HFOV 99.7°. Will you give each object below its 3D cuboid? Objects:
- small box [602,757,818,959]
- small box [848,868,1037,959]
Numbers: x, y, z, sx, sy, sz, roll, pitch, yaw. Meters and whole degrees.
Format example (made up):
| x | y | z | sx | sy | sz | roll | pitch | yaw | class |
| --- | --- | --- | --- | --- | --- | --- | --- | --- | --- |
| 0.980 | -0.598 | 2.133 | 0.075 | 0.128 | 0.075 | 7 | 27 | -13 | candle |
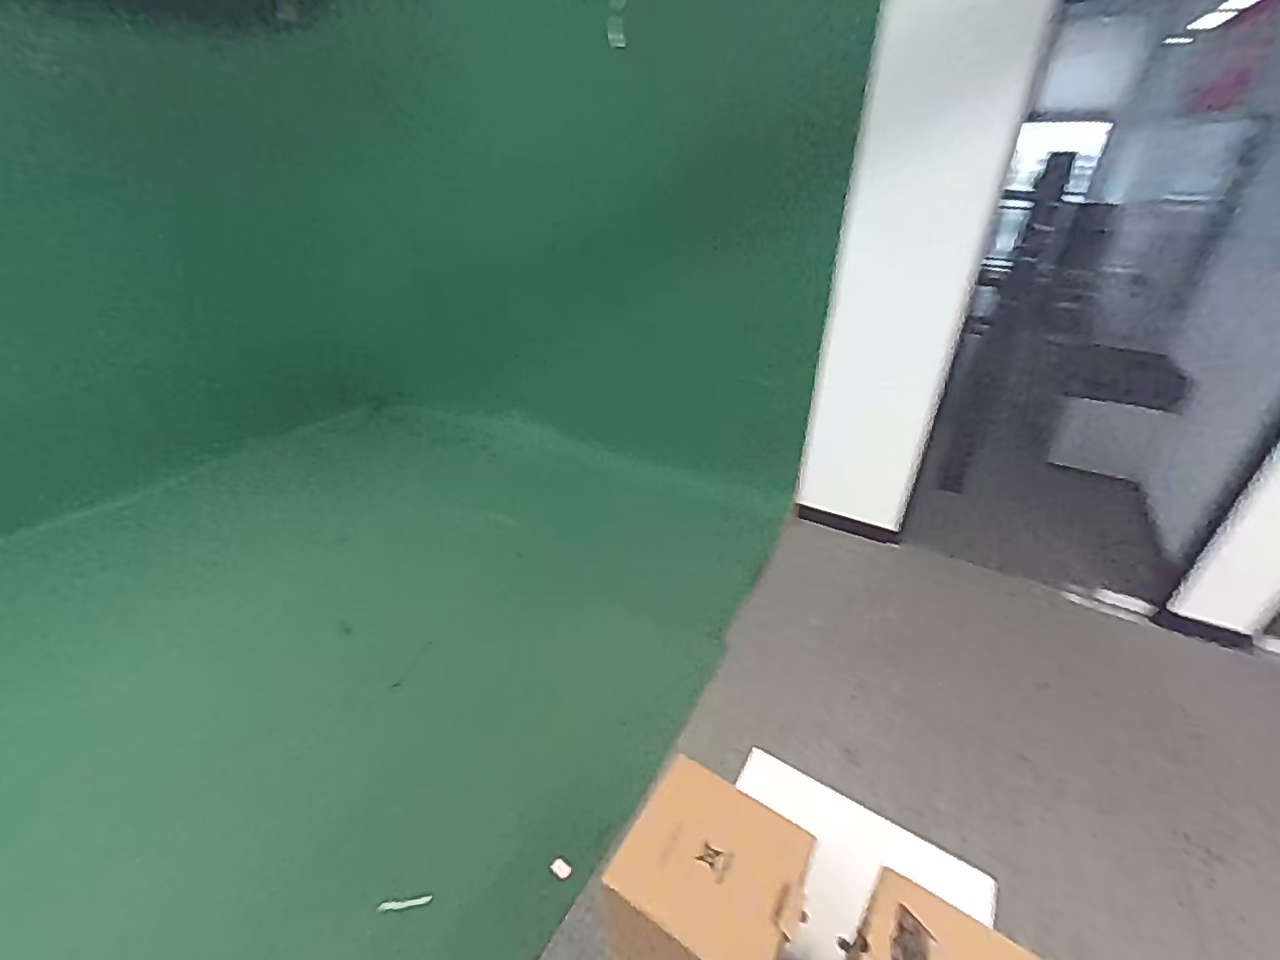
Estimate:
| x | y | z | sx | sy | sz | roll | pitch | yaw | class |
| --- | --- | --- | --- | --- | --- | --- | --- | --- | --- |
| 0.075 | 0.465 | 0.606 | 0.179 | 0.176 | 0.168 | 19 | 35 | 28 | small box |
| 0.276 | 0.528 | 0.501 | 0.179 | 0.176 | 0.168 | 20 | 36 | 30 | small box |
